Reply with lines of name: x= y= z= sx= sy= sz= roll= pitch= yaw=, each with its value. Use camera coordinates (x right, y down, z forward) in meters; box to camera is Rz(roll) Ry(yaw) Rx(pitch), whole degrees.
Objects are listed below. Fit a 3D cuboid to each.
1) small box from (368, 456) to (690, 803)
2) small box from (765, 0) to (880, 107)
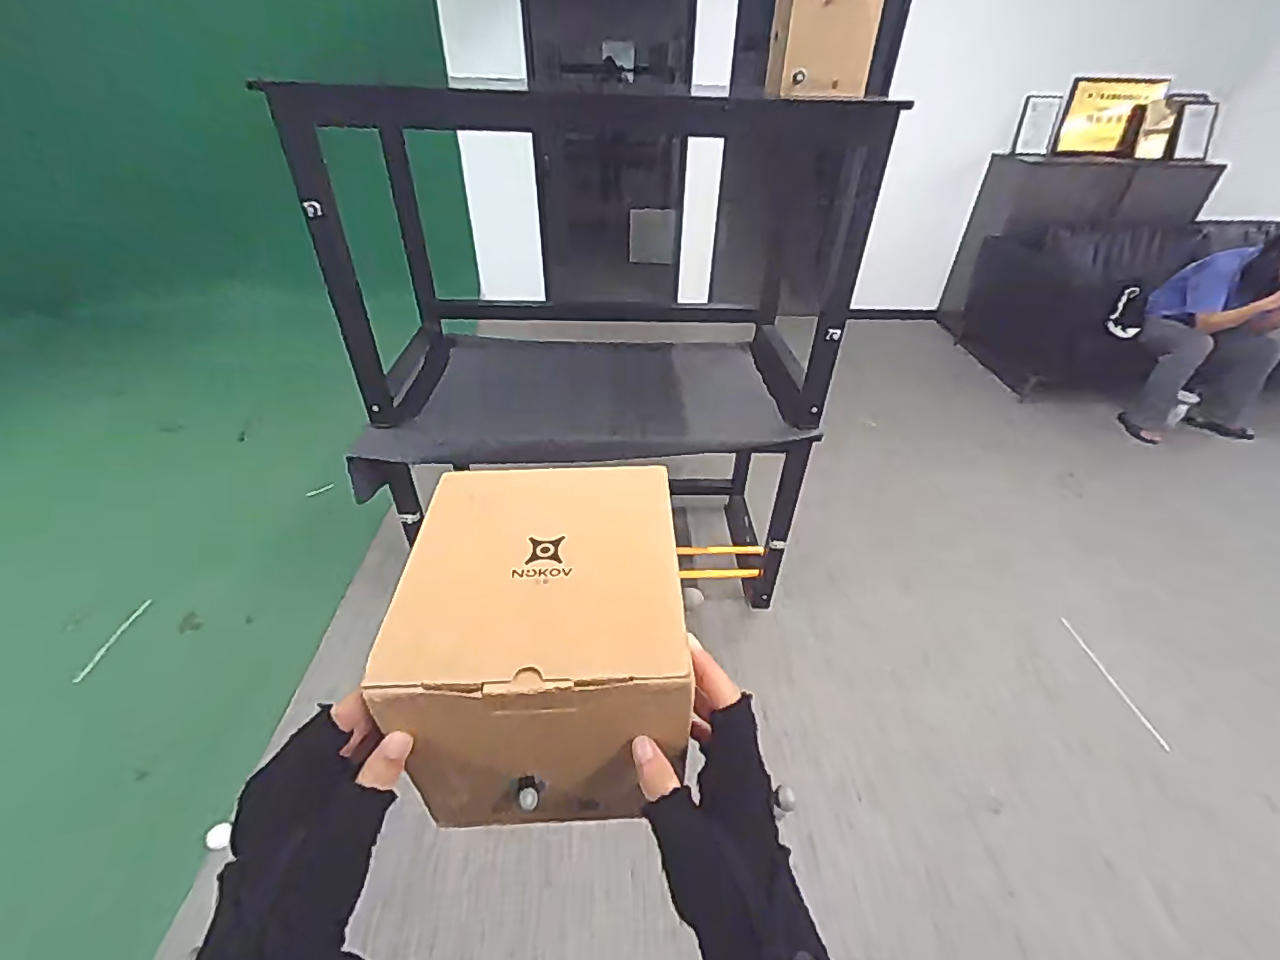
small box: x=-0.059 y=0.100 z=0.385 sx=0.168 sy=0.176 sz=0.179 roll=-2 pitch=38 yaw=-2
small box: x=0.356 y=-0.855 z=1.085 sx=0.168 sy=0.176 sz=0.179 roll=1 pitch=36 yaw=0
